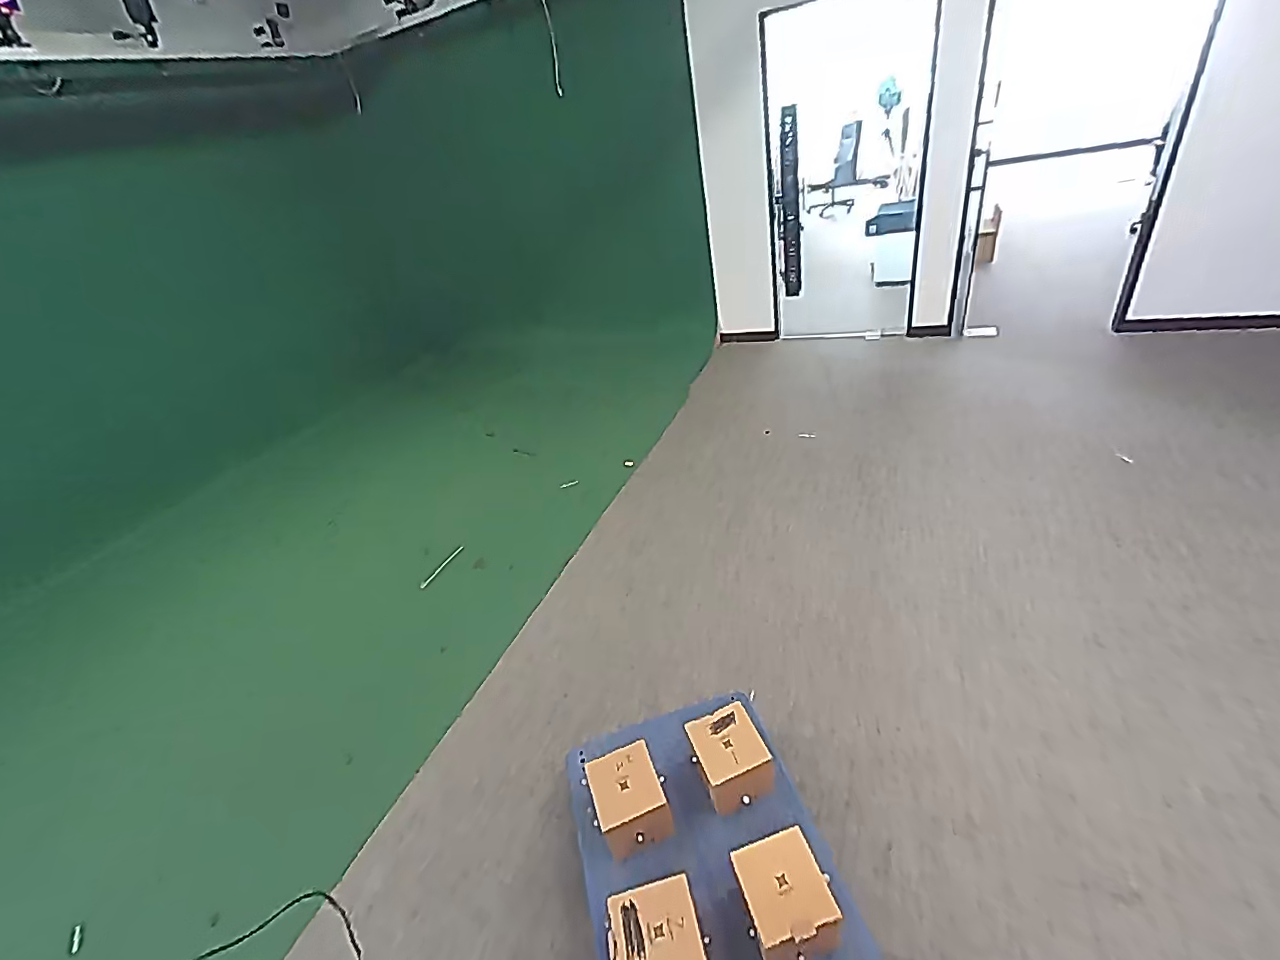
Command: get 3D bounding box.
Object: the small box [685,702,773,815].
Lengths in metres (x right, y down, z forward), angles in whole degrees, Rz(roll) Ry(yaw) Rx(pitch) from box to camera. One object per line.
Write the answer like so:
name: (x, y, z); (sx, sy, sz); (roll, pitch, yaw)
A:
small box: (0.232, 0.726, 1.411); (0.168, 0.176, 0.179); (-19, 36, -10)

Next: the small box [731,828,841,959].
small box: (0.305, 0.892, 1.149); (0.168, 0.176, 0.179); (-17, 35, -7)

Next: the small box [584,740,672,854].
small box: (-0.029, 0.808, 1.371); (0.168, 0.176, 0.179); (-18, 35, -10)
